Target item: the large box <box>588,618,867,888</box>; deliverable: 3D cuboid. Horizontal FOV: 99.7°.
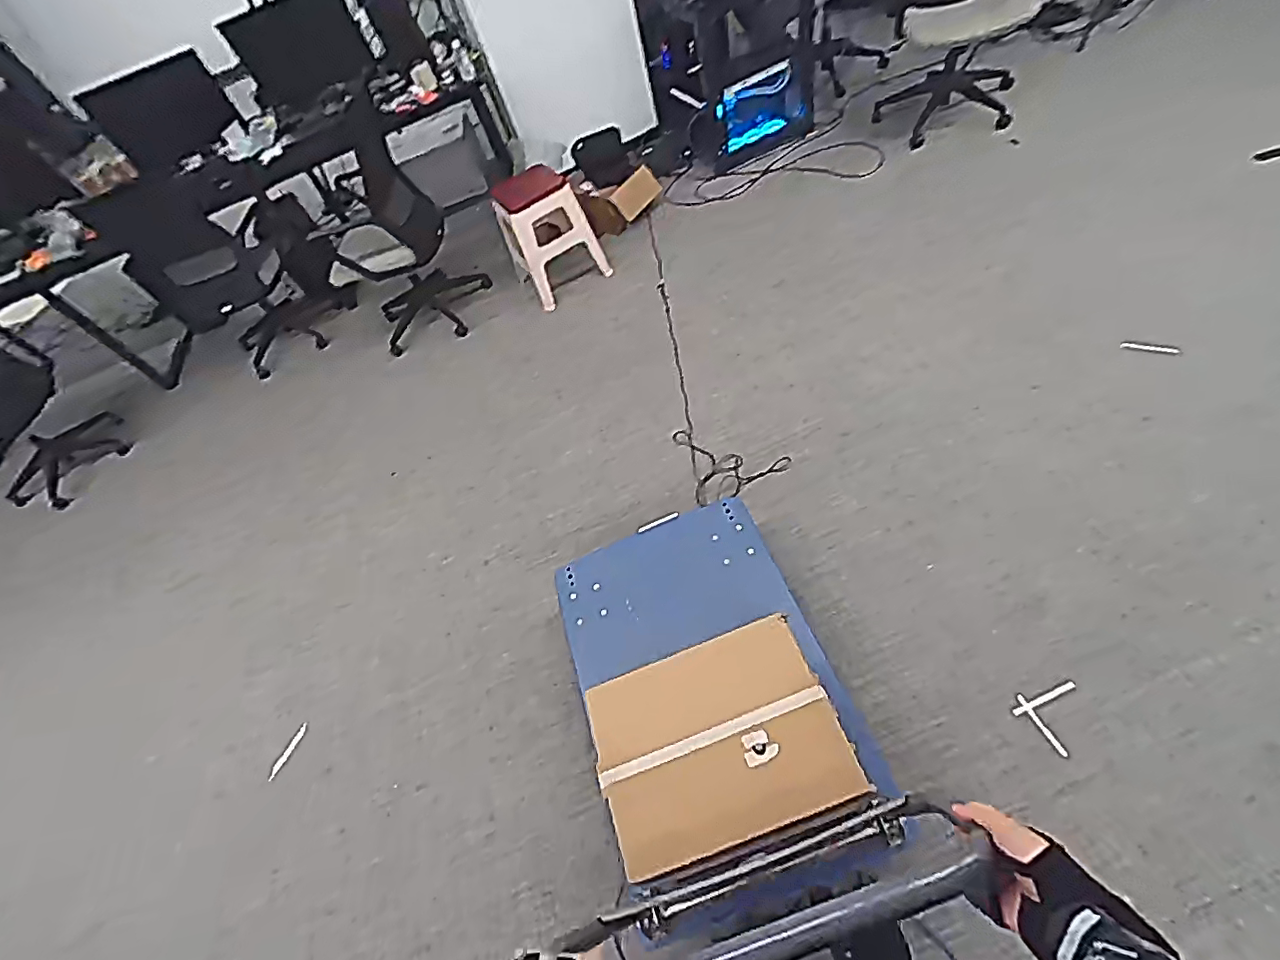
[{"bbox_3d":[0.162,0.532,1.044,0.408,0.320,0.320,-22,52,0],"label":"large box"}]
